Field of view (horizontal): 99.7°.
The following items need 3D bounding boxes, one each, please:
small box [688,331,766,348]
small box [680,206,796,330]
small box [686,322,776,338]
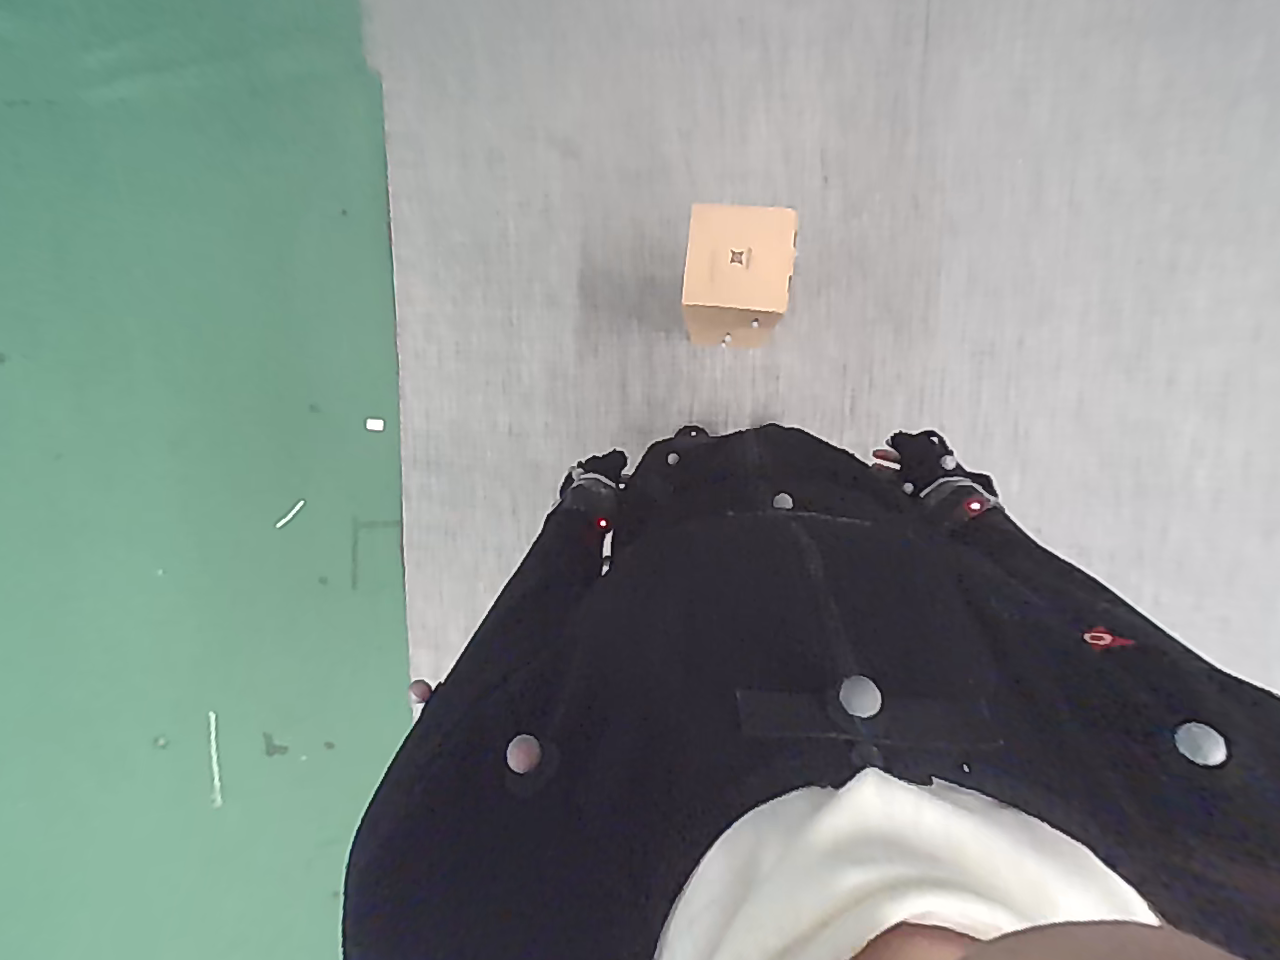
[{"bbox_3d":[0.213,-0.412,1.290,0.179,0.176,0.168,6,97,7],"label":"small box"},{"bbox_3d":[0.170,-0.370,0.970,0.179,0.176,0.168,6,96,8],"label":"small box"},{"bbox_3d":[0.193,-0.392,1.132,0.179,0.176,0.168,4,98,7],"label":"small box"}]
